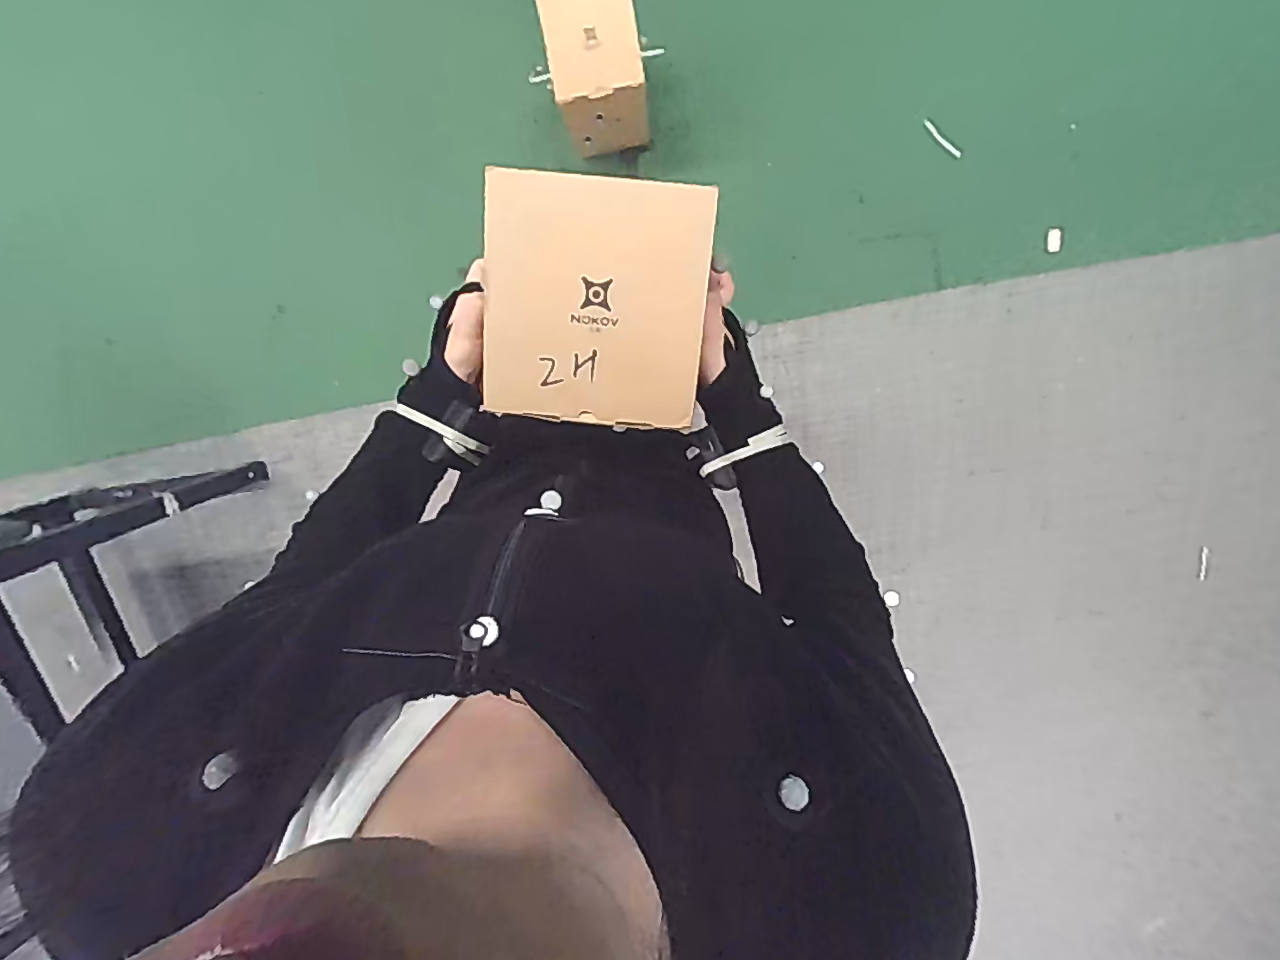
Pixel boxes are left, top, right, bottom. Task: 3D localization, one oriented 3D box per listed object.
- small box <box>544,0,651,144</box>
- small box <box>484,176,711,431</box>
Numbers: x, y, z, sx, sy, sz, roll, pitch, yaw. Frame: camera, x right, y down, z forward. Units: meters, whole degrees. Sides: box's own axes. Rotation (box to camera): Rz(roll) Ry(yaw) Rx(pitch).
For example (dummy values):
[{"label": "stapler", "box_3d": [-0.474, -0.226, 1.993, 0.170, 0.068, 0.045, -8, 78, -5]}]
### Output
[{"label": "small box", "box_3d": [-0.073, -0.788, 1.044, 0.168, 0.176, 0.179, -10, 105, 5]}, {"label": "small box", "box_3d": [-0.033, -0.149, 0.486, 0.168, 0.176, 0.179, 5, 105, 2]}]
